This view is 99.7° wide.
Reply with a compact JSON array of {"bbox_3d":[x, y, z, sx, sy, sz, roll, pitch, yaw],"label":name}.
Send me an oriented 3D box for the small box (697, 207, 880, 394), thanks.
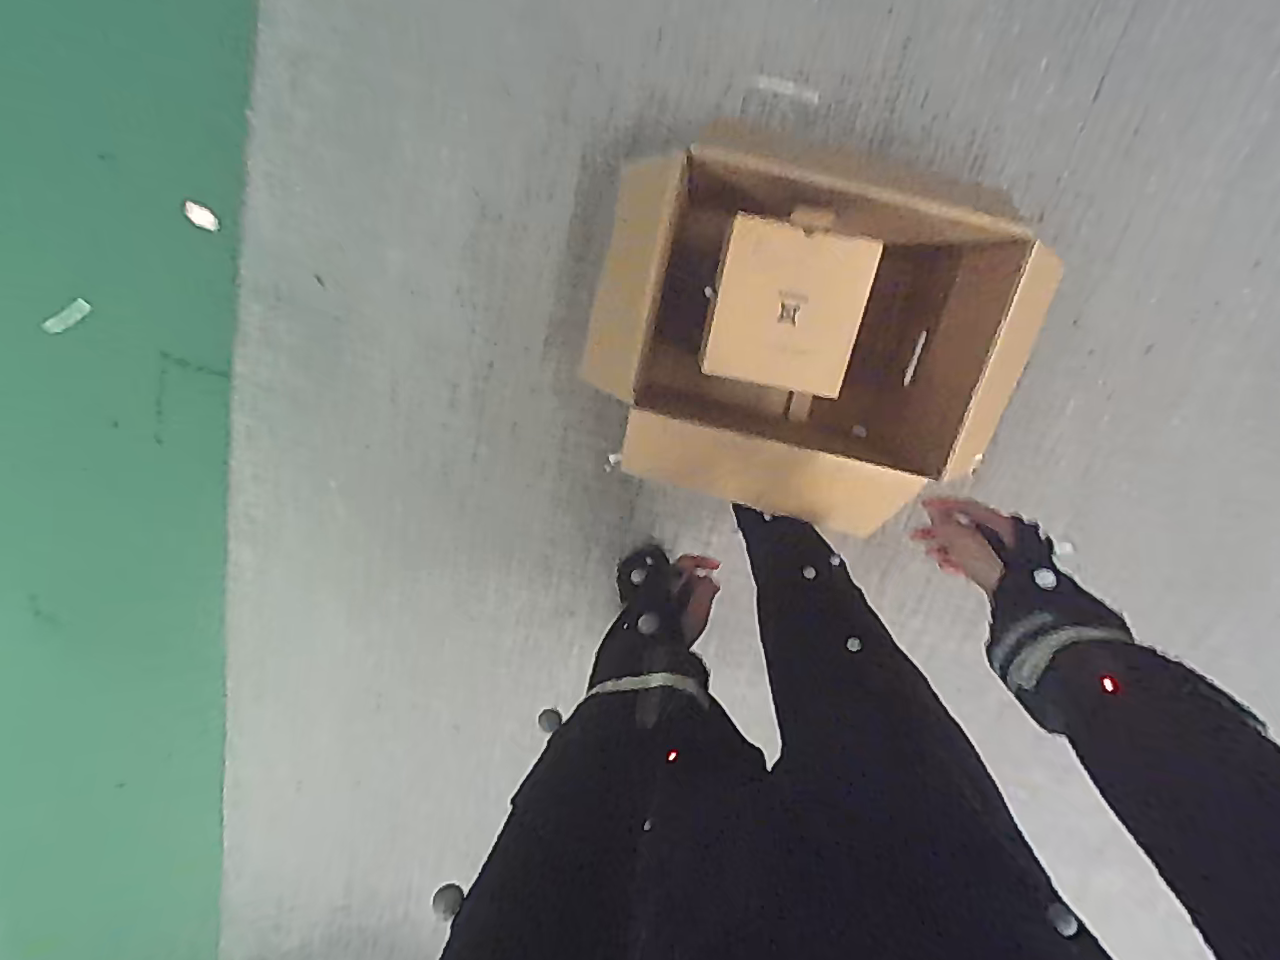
[{"bbox_3d":[0.168,-0.223,0.683,0.168,0.176,0.179,12,109,0],"label":"small box"}]
